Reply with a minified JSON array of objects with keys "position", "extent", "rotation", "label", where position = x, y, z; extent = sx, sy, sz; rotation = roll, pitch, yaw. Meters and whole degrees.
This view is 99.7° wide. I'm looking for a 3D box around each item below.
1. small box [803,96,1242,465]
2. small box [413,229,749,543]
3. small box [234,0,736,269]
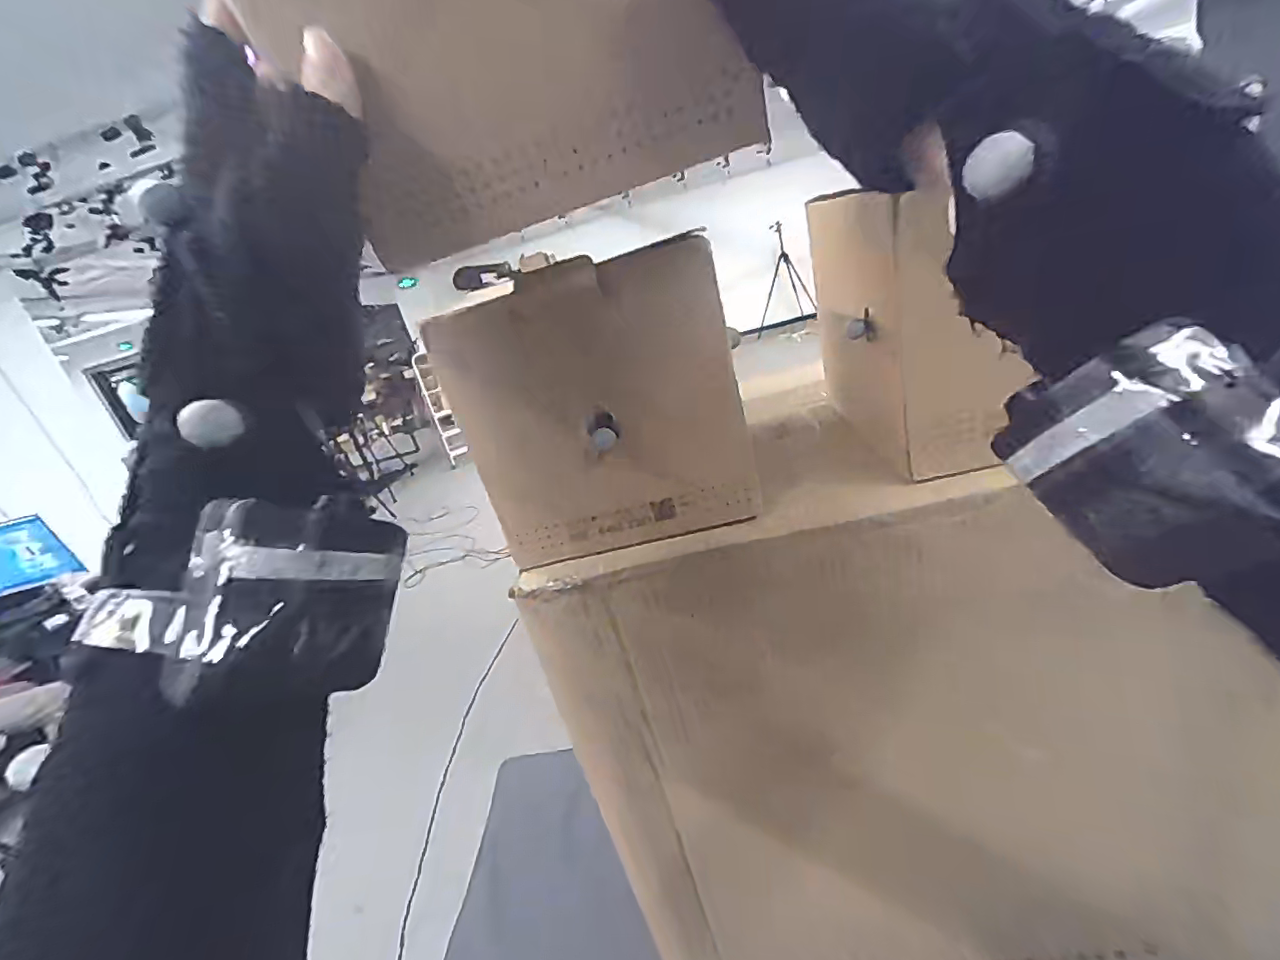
[{"position":[0.219,-0.118,0.363],"extent":[0.168,0.176,0.179],"rotation":[-10,22,7],"label":"small box"},{"position":[-0.024,-0.068,0.393],"extent":[0.168,0.176,0.179],"rotation":[-13,24,8],"label":"small box"},{"position":[-0.061,-0.224,0.252],"extent":[0.179,0.176,0.168],"rotation":[-16,36,7],"label":"small box"}]
